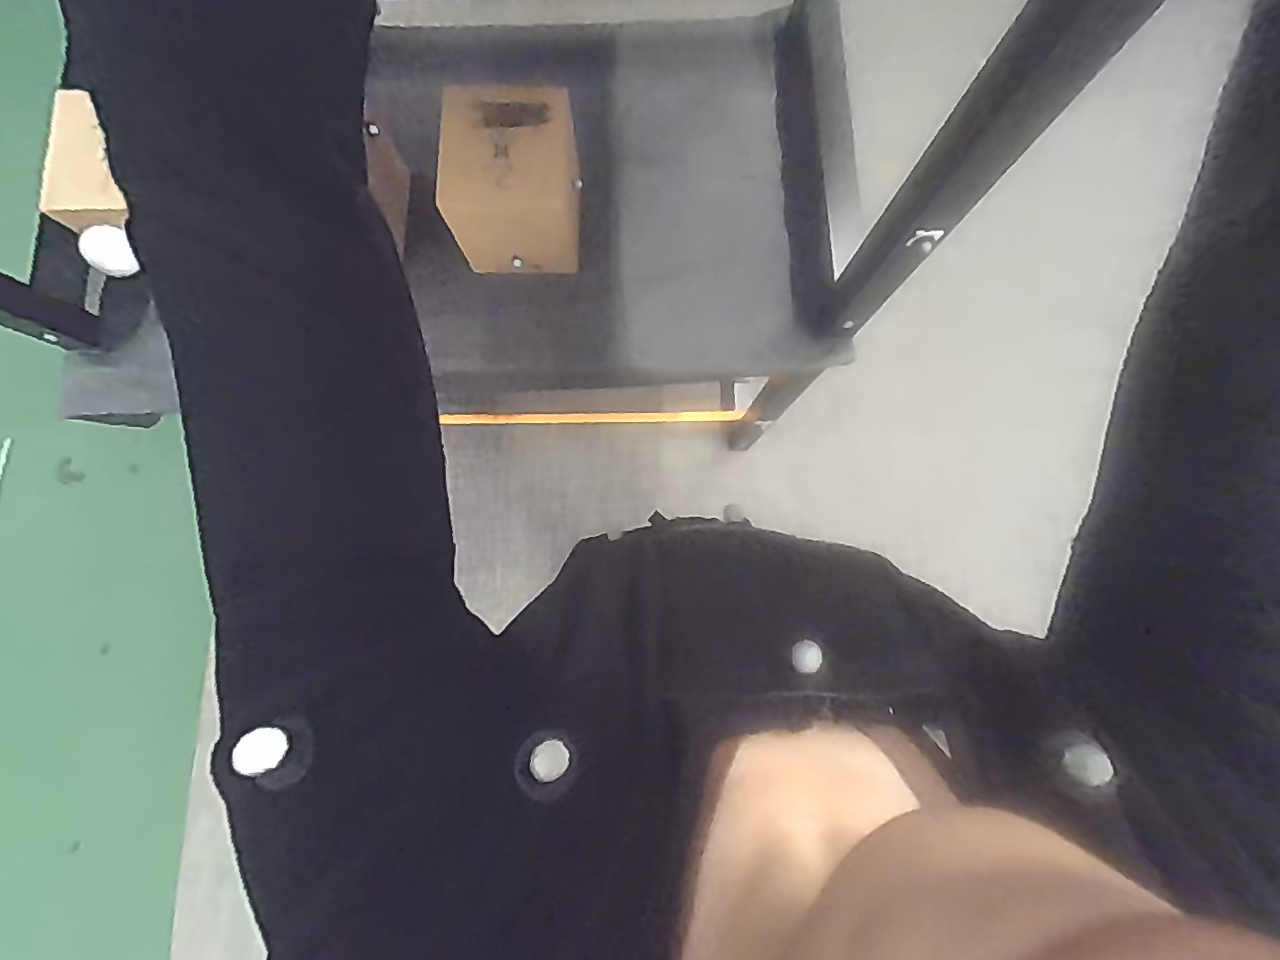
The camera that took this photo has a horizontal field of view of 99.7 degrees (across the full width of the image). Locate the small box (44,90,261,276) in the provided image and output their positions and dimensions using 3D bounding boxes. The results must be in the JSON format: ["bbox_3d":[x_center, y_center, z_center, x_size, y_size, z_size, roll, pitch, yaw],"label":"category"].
[{"bbox_3d":[-0.683,-0.421,0.785,0.168,0.176,0.179,-1,81,0],"label":"small box"}]
